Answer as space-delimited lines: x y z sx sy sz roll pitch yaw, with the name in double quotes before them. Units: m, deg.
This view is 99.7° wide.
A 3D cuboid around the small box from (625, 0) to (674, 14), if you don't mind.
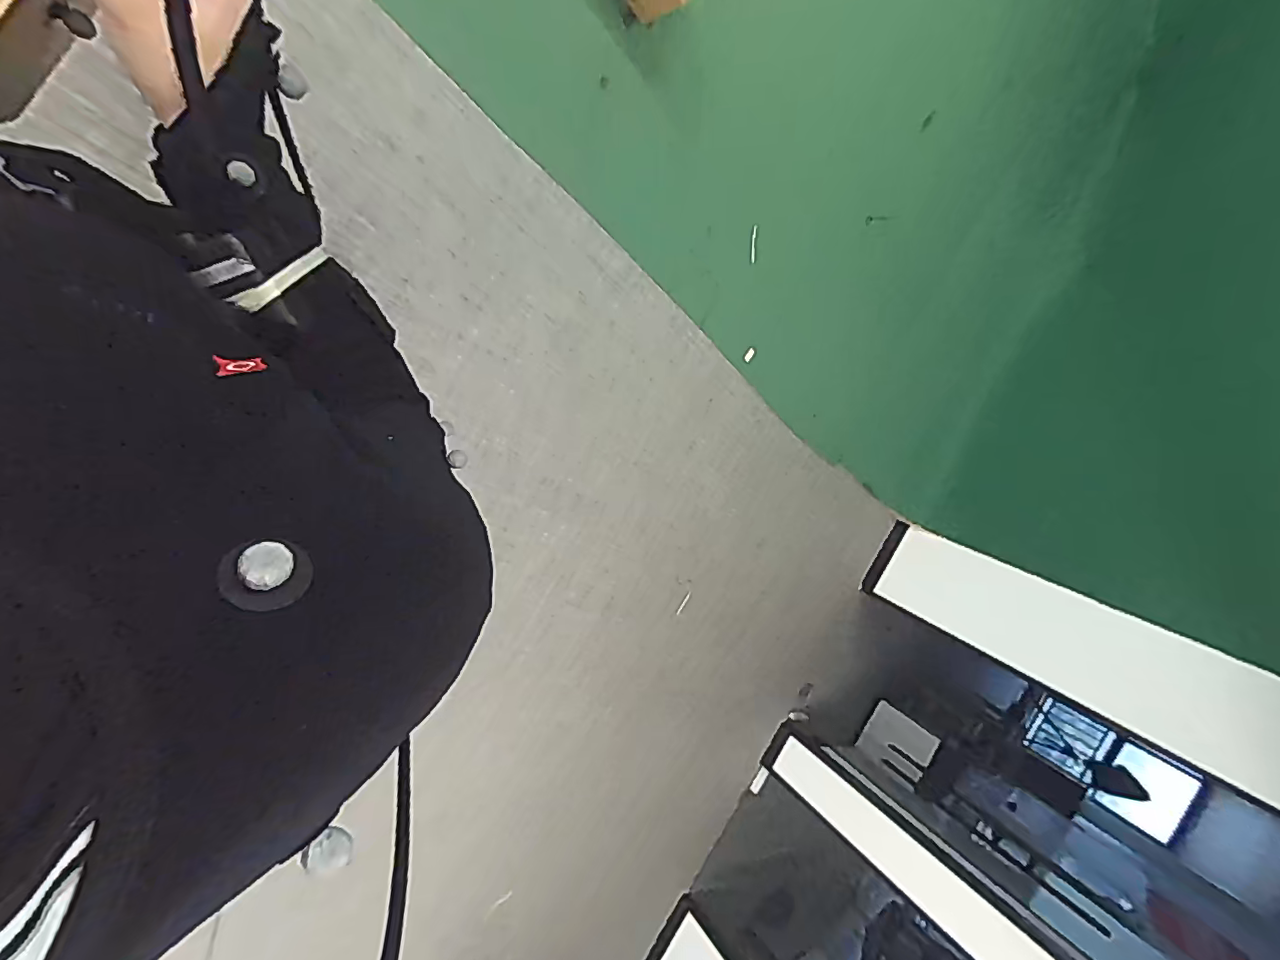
"small box" 0.032 -1.222 1.226 0.168 0.176 0.179 30 91 -43
